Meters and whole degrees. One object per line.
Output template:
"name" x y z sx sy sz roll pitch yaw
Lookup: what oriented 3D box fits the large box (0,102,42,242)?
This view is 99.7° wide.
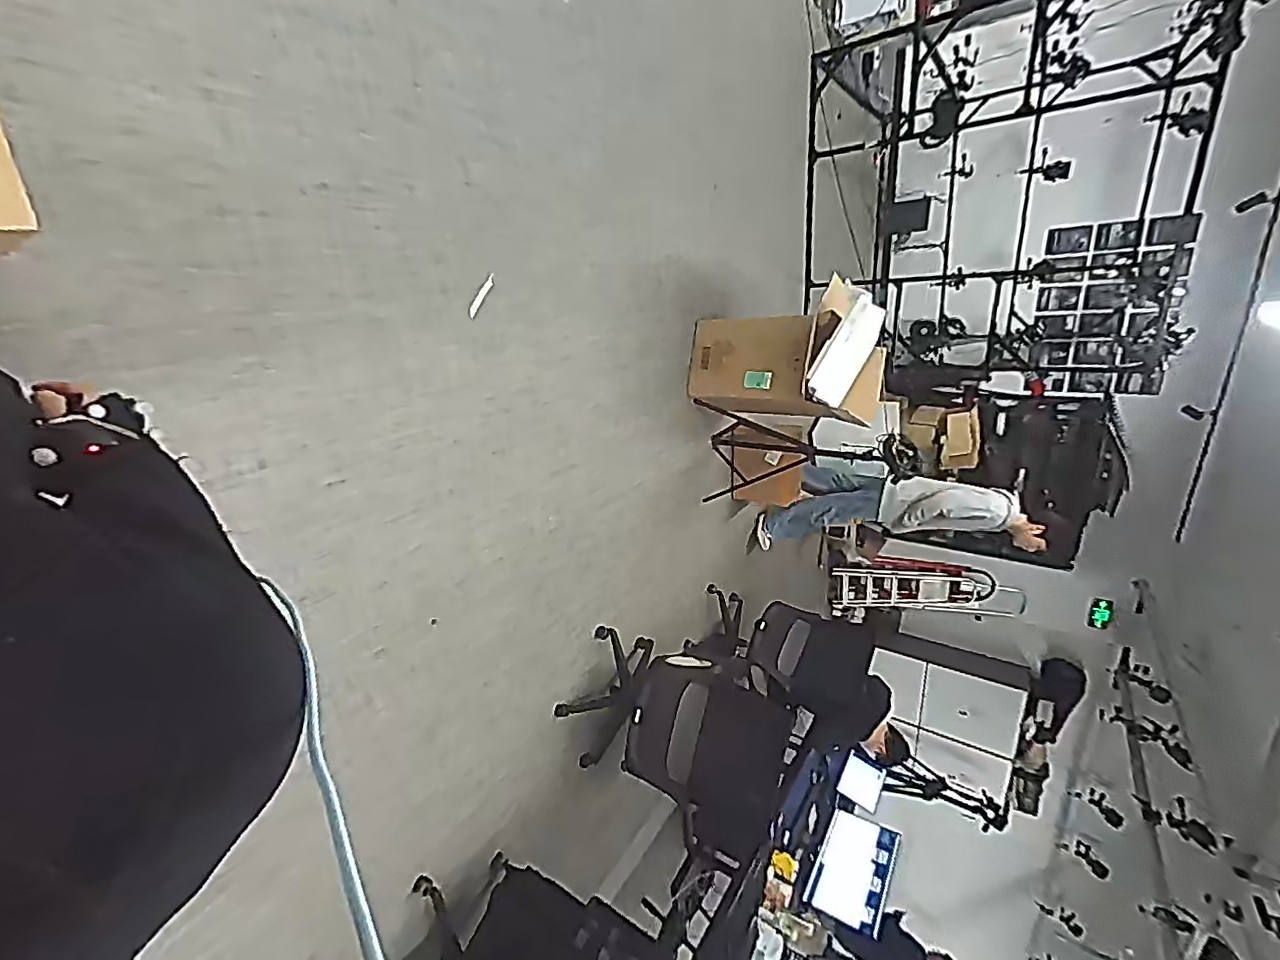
"large box" -1.042 -0.450 0.603 0.408 0.320 0.320 -28 121 -51
